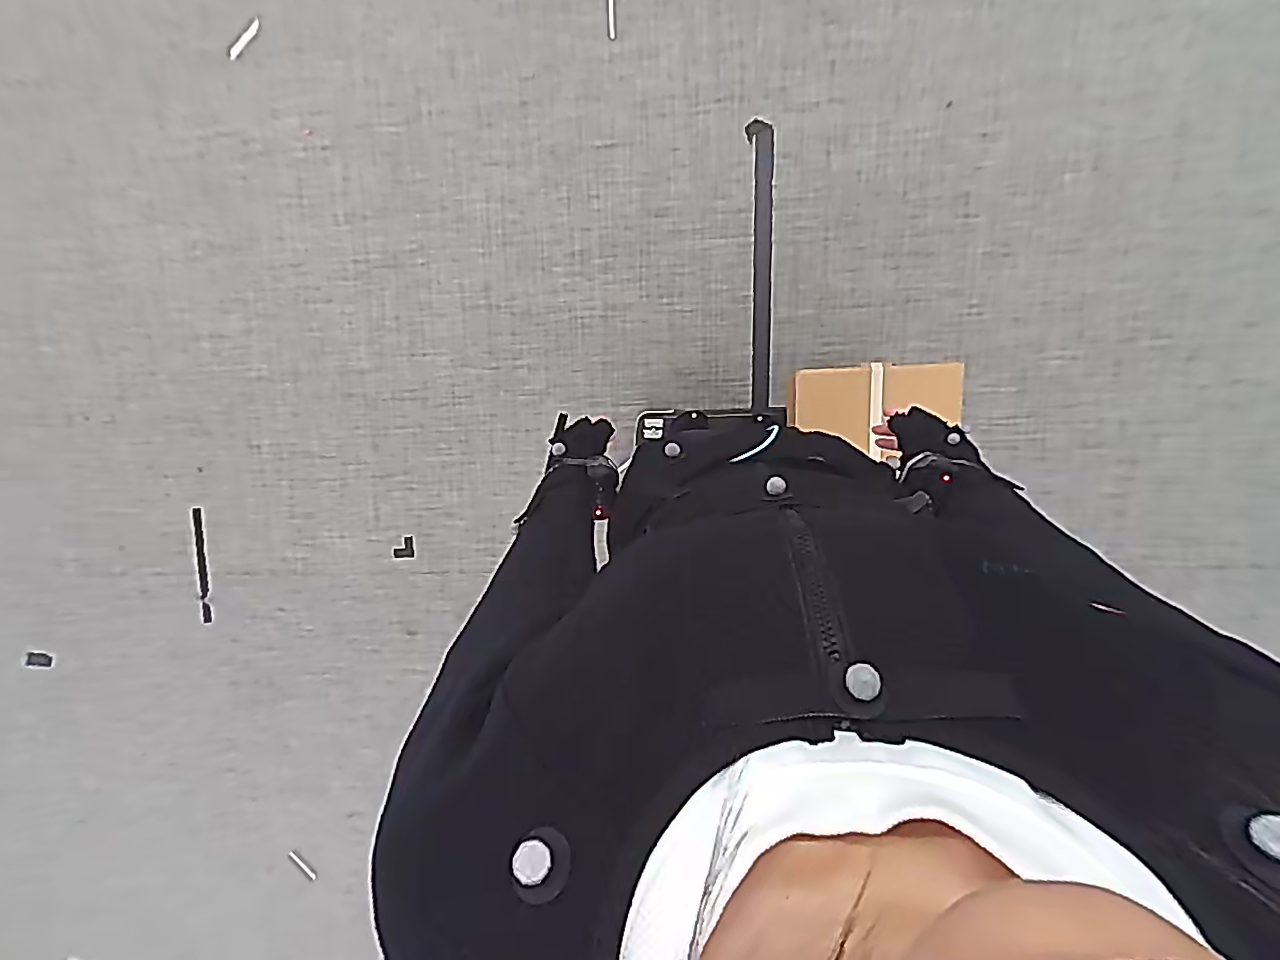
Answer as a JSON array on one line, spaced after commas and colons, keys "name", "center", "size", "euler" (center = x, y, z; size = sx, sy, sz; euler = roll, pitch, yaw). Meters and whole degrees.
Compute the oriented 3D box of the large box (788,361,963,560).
[{"name": "large box", "center": [0.512, -0.055, 1.244], "size": [0.320, 0.320, 0.408], "euler": [0, 99, 13]}]
